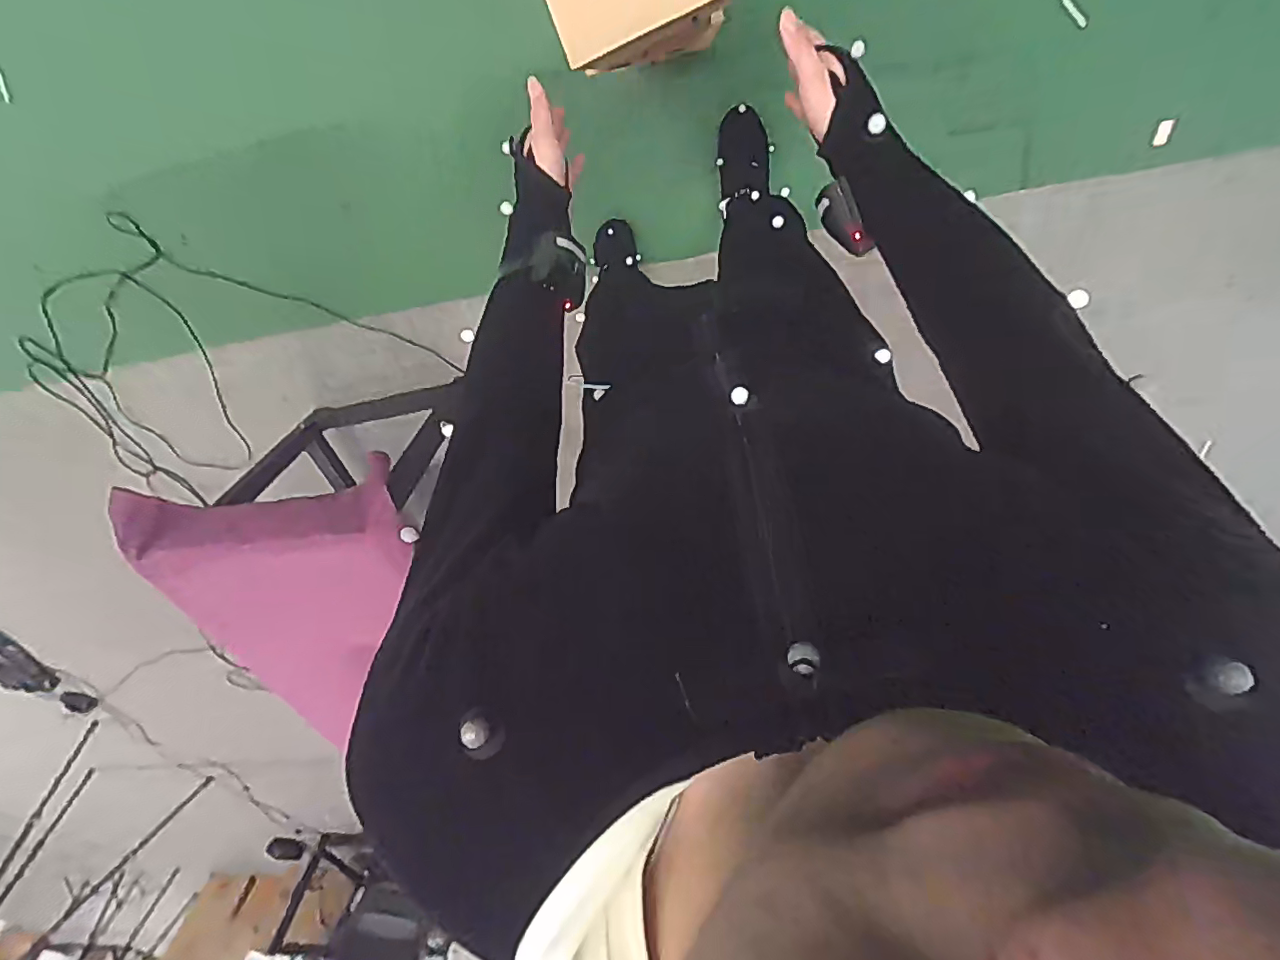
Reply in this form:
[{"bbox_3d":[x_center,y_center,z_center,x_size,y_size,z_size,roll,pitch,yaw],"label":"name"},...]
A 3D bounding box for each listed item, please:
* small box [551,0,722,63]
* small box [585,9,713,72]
[{"bbox_3d":[-0.009,-0.552,0.542,0.179,0.176,0.168,-14,124,17],"label":"small box"},{"bbox_3d":[0.001,-0.642,0.679,0.168,0.176,0.179,-7,127,11],"label":"small box"}]
